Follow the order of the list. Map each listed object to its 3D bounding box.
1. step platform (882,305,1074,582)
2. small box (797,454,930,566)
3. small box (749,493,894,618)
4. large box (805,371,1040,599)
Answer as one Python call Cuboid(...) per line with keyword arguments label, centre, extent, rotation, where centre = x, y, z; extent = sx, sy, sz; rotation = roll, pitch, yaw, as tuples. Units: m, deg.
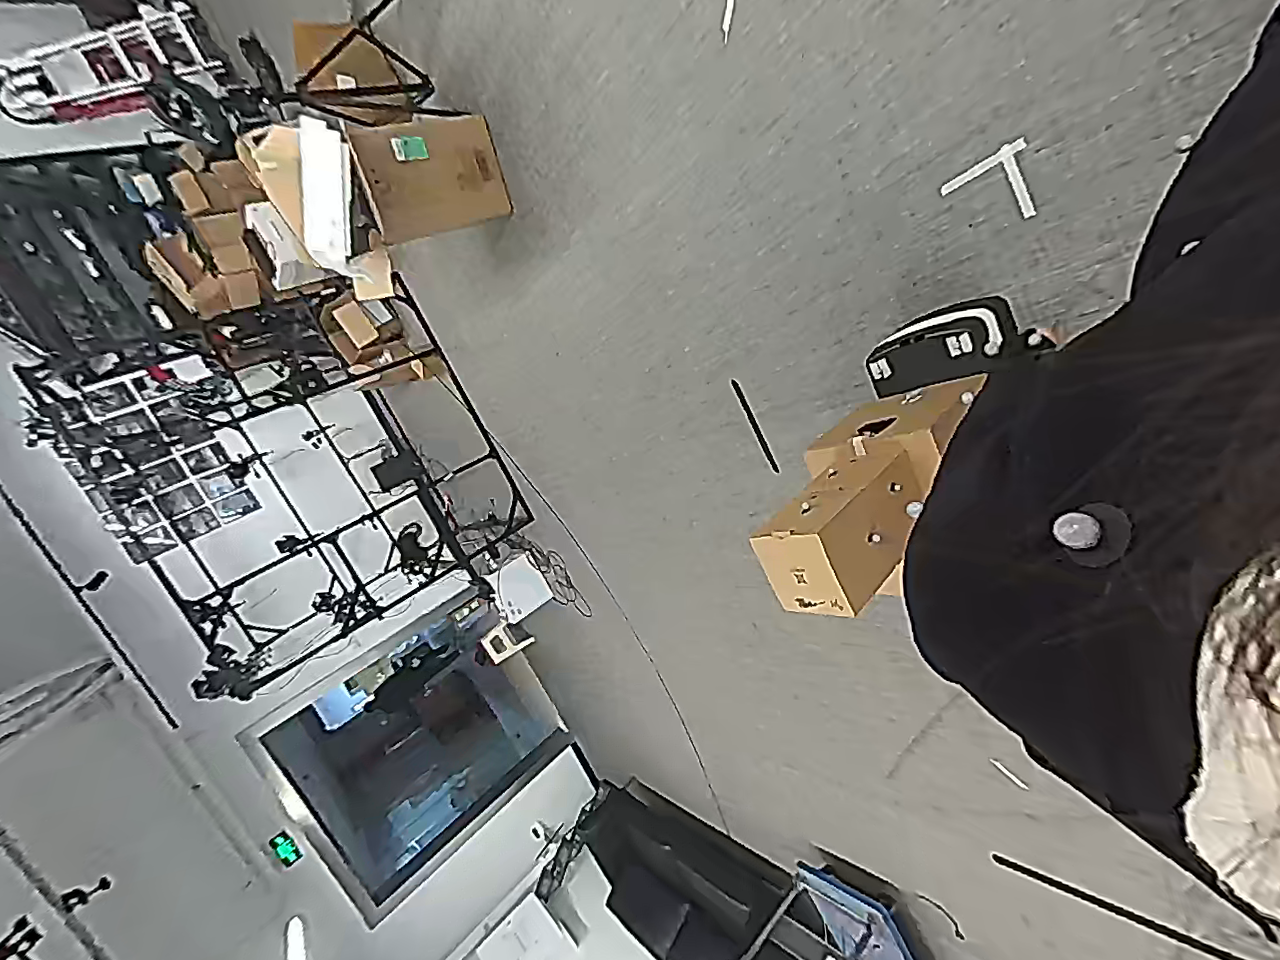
Cuboid(label="step platform", centre=(0.859, -0.070, 1.377), extent=(0.286, 0.204, 0.684), rotation=(-2, 117, 54))
Cuboid(label="small box", centre=(0.462, 0.057, 1.112), extent=(0.168, 0.176, 0.179), rotation=(-9, 110, 55))
Cuboid(label="small box", centre=(0.346, 0.135, 1.027), extent=(0.168, 0.176, 0.179), rotation=(-11, 108, 56))
Cuboid(label="large box", centre=(0.663, 0.016, 1.267), extent=(0.320, 0.320, 0.408), rotation=(-10, 110, 56))
